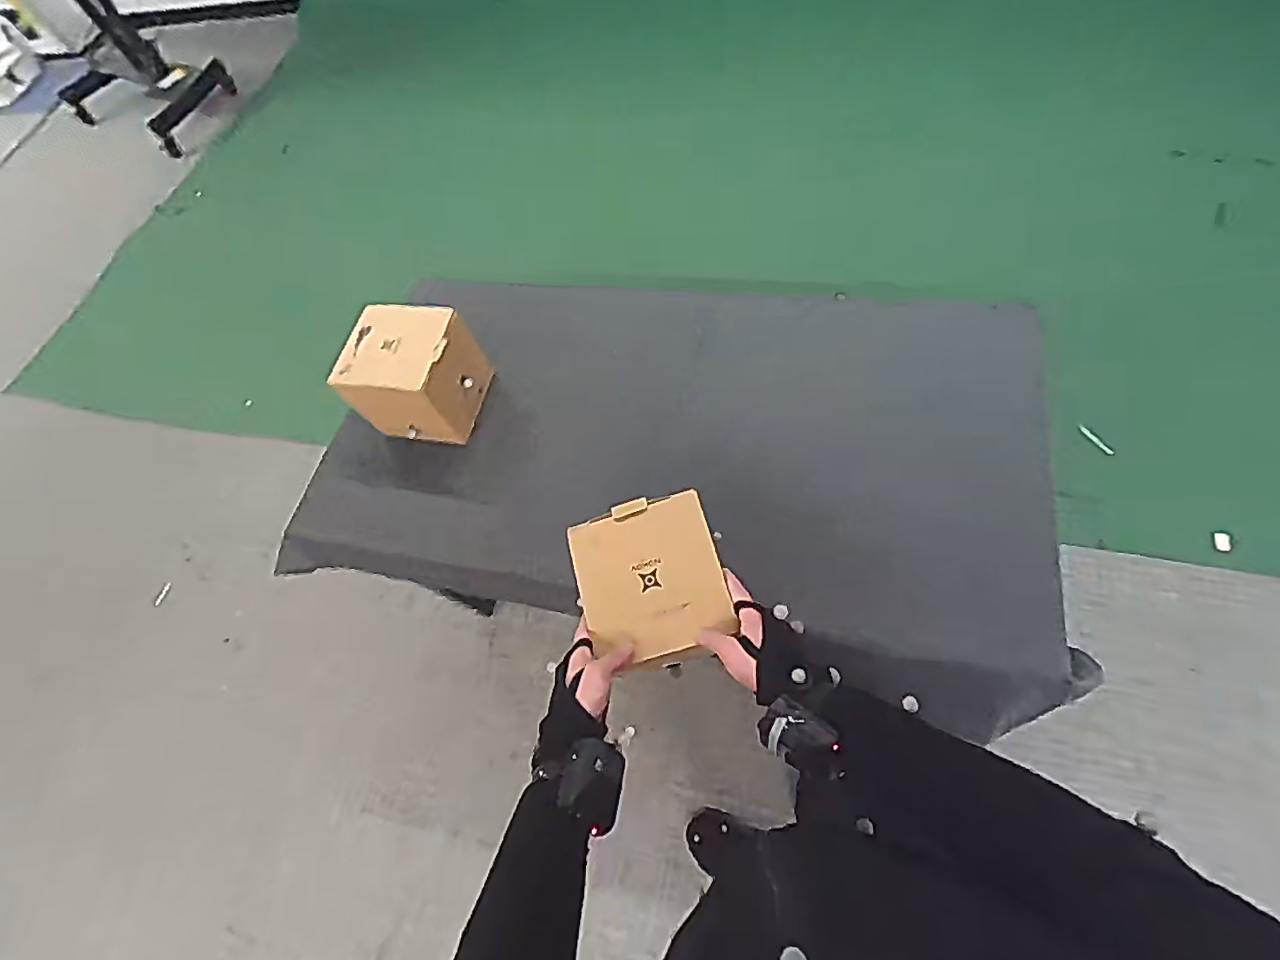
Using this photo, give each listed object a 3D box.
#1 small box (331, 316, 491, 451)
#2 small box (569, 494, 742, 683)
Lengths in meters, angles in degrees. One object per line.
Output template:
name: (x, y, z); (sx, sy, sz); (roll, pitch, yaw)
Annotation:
small box: (-0.390, -0.165, 0.959); (0.179, 0.176, 0.168); (8, 65, 12)
small box: (0.024, 0.143, 0.671); (0.168, 0.176, 0.179); (-16, 66, 5)
